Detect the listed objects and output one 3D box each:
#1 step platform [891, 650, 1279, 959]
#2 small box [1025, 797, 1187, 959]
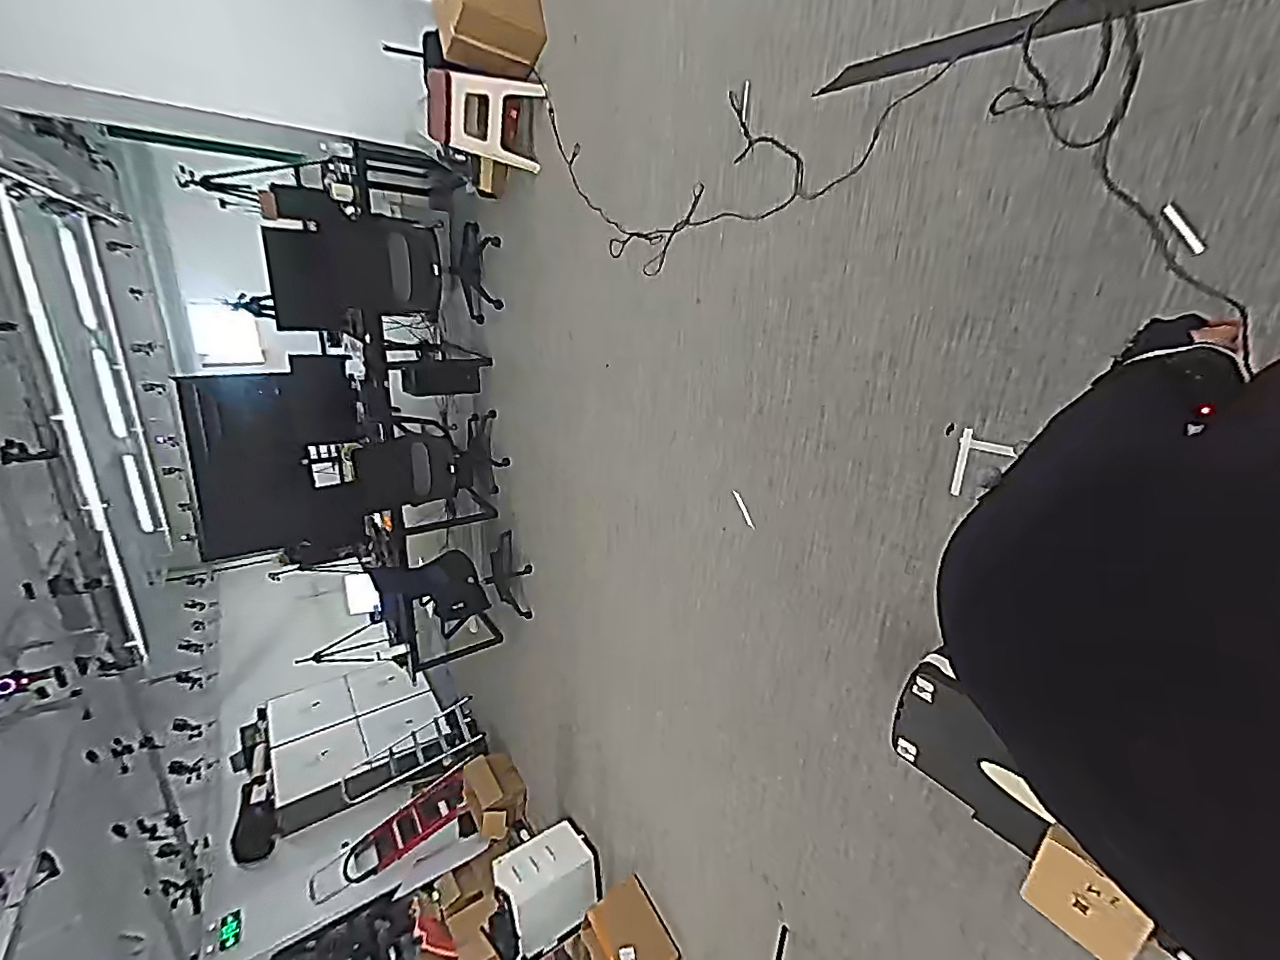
[{"bbox_3d":[0.926,0.693,1.211,0.684,0.204,0.286,27,121,48],"label":"step platform"},{"bbox_3d":[0.864,0.744,1.005,0.168,0.176,0.179,29,122,48],"label":"small box"}]
